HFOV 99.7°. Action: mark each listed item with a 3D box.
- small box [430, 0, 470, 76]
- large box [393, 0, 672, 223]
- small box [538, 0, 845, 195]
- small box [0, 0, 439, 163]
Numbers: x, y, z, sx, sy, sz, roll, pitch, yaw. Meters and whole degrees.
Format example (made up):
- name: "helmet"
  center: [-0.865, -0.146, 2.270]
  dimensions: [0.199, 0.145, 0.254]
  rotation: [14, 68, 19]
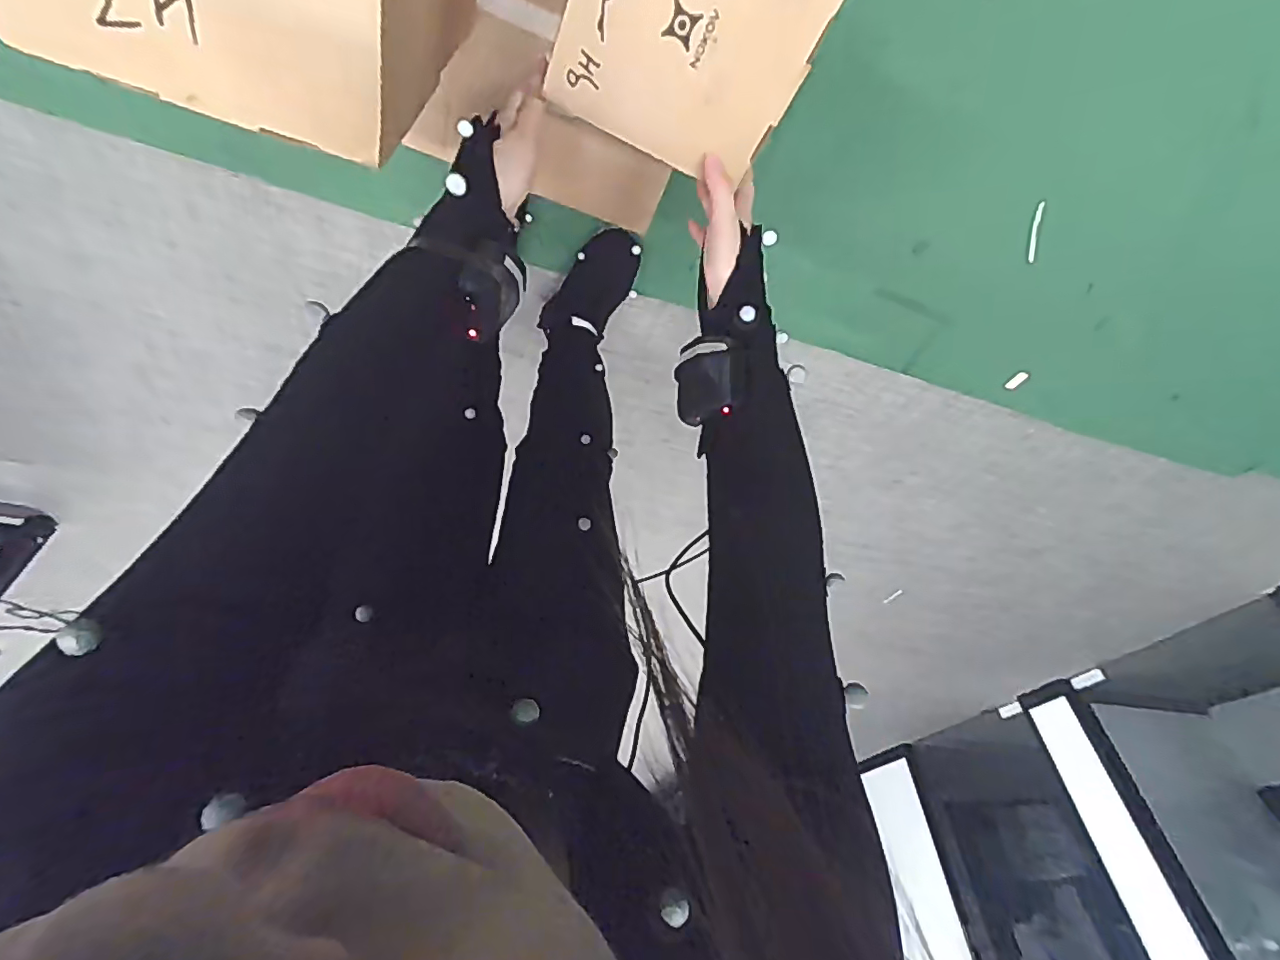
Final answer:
- name: "small box"
  center: [-0.200, -0.425, 0.365]
  dimensions: [0.168, 0.176, 0.179]
  rotation: [12, 136, -18]
- name: "large box"
  center: [-0.127, -0.554, 0.591]
  dimensions: [0.408, 0.320, 0.320]
  rotation: [12, 137, -17]
- name: "small box"
  center: [0.034, -0.374, 0.434]
  dimensions: [0.179, 0.176, 0.168]
  rotation: [17, 134, -19]
- name: "small box"
  center: [-0.193, -0.299, 0.259]
  dimensions: [0.168, 0.176, 0.179]
  rotation: [12, 136, -17]
